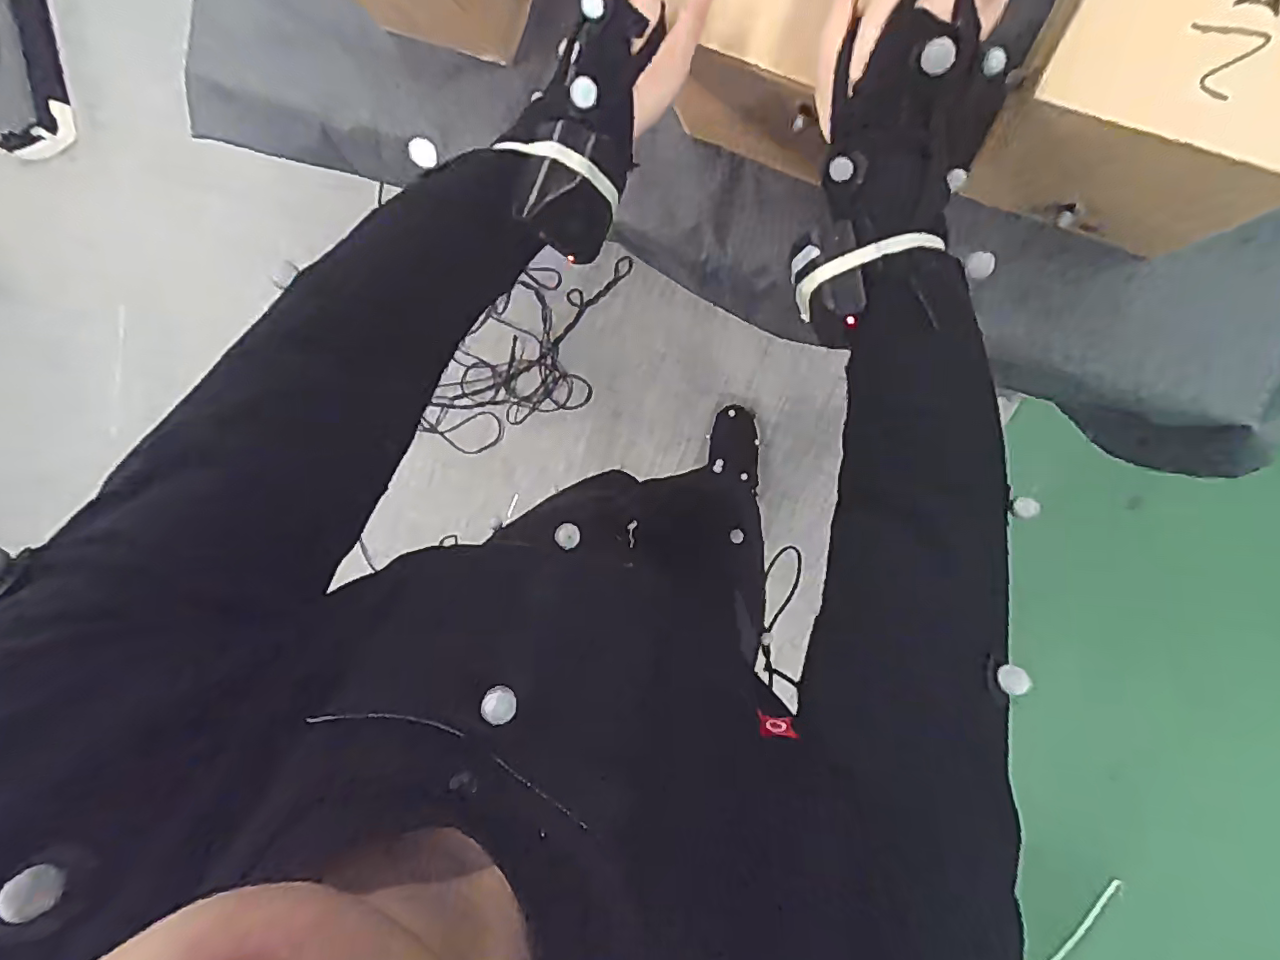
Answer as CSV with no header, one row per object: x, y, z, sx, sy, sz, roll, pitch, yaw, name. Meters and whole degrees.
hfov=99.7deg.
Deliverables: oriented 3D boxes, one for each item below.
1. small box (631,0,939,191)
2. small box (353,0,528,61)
0.122,-0.359,0.422,0.179,0.176,0.168,28,104,9,small box
-0.206,-0.526,0.486,0.179,0.176,0.168,24,105,10,small box
